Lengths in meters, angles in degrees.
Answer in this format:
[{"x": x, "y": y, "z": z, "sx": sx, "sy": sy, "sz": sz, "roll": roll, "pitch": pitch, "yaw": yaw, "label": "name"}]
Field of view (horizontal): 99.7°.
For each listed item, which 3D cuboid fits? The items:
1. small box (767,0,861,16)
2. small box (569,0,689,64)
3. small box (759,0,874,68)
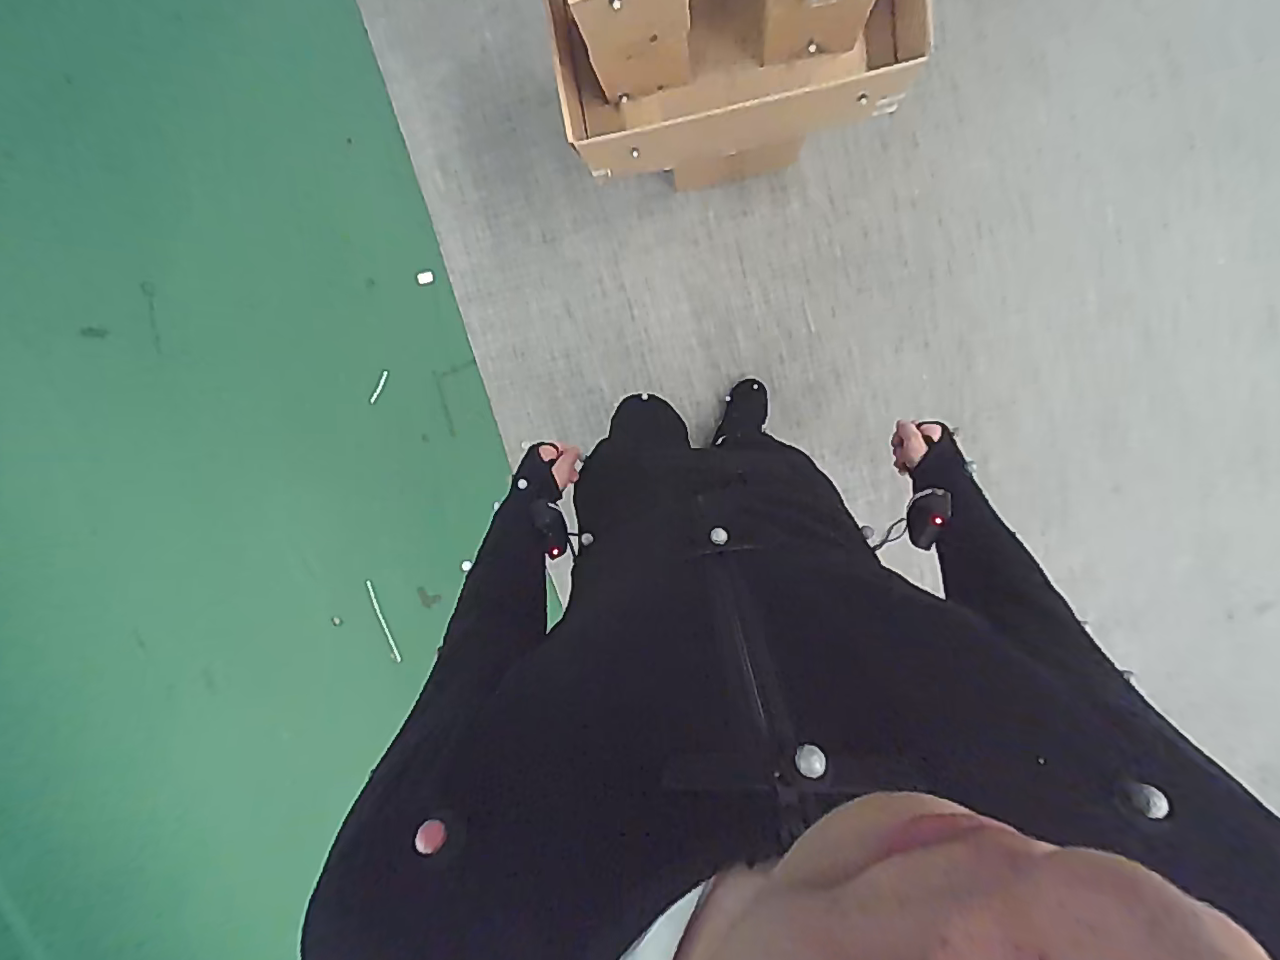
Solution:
[{"x": 0.259, "y": -0.800, "z": 0.742, "sx": 0.168, "sy": 0.176, "sz": 0.179, "roll": -4, "pitch": 102, "yaw": 9, "label": "small box"}, {"x": -0.026, "y": -0.766, "z": 0.790, "sx": 0.168, "sy": 0.176, "sz": 0.179, "roll": -10, "pitch": 101, "yaw": 11, "label": "small box"}, {"x": 0.287, "y": -0.836, "z": 0.899, "sx": 0.168, "sy": 0.176, "sz": 0.179, "roll": -3, "pitch": 102, "yaw": 10, "label": "small box"}]
